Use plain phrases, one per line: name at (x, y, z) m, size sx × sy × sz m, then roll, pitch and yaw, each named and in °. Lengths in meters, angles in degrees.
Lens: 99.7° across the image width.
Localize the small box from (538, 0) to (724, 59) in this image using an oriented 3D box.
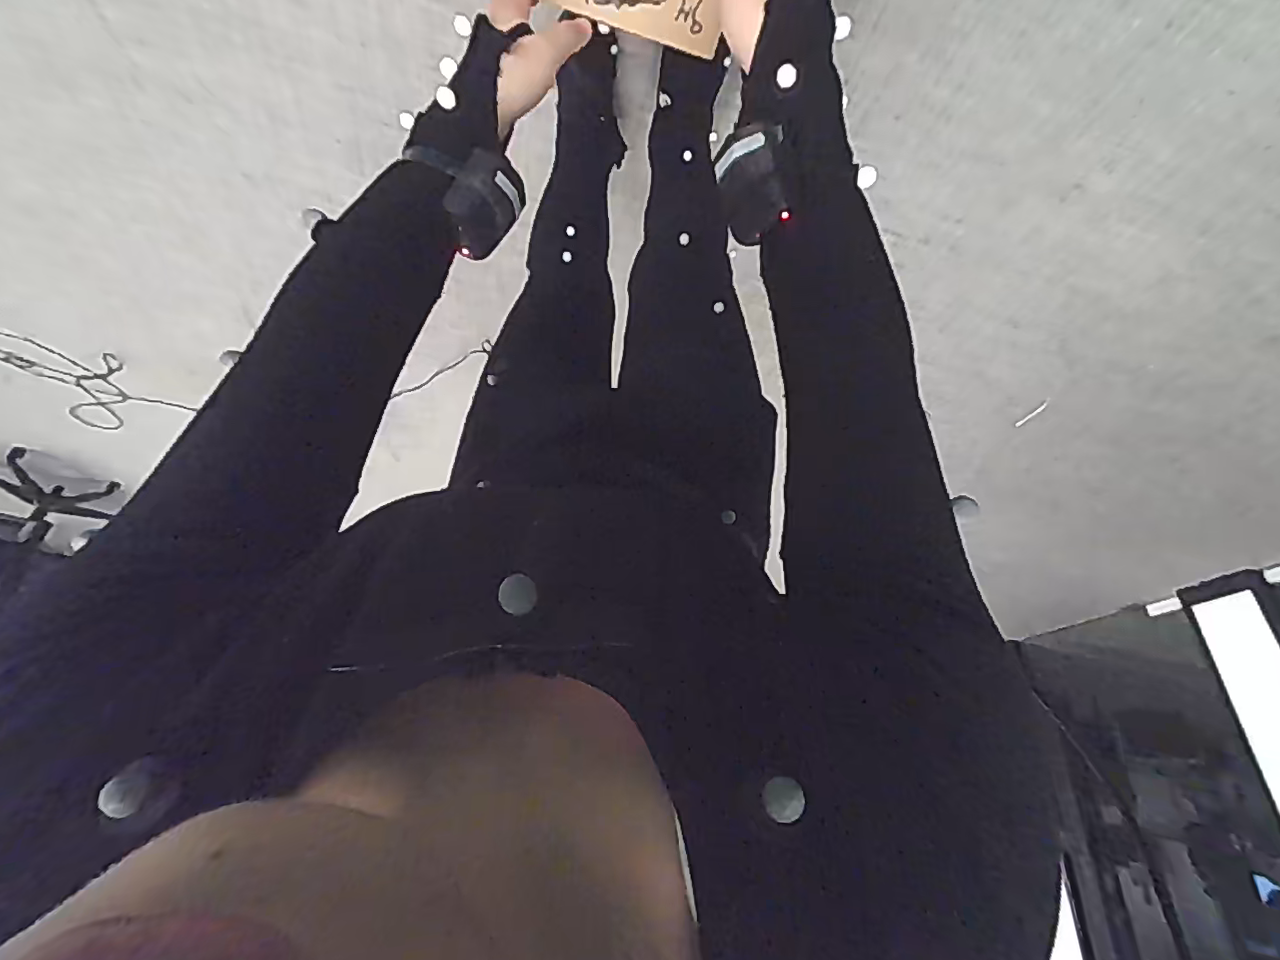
small box at (0.008, -0.496, 0.433) m, size 0.168 × 0.176 × 0.179 m, roll 13°, pitch 147°, yaw -8°
